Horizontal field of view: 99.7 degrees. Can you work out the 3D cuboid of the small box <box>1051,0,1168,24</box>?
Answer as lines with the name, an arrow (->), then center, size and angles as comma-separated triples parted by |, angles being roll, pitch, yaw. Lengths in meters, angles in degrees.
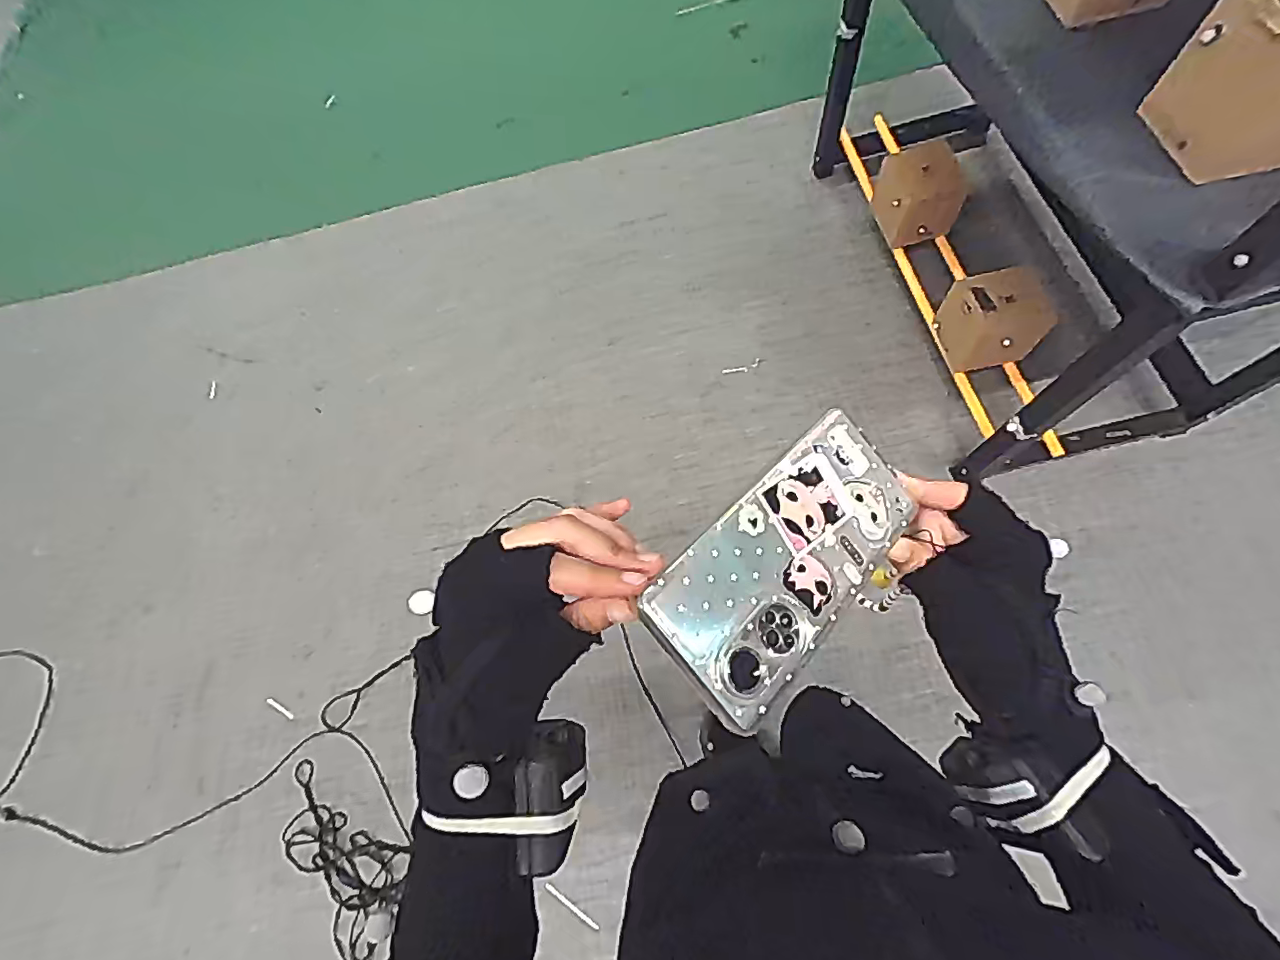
small box -> 0.772, -0.877, 0.854 | 0.168, 0.176, 0.179 | -11, 68, 4

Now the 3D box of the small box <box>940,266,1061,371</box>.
small box -> 0.867, -0.388, 1.328 | 0.179, 0.176, 0.168 | -11, 69, 4
